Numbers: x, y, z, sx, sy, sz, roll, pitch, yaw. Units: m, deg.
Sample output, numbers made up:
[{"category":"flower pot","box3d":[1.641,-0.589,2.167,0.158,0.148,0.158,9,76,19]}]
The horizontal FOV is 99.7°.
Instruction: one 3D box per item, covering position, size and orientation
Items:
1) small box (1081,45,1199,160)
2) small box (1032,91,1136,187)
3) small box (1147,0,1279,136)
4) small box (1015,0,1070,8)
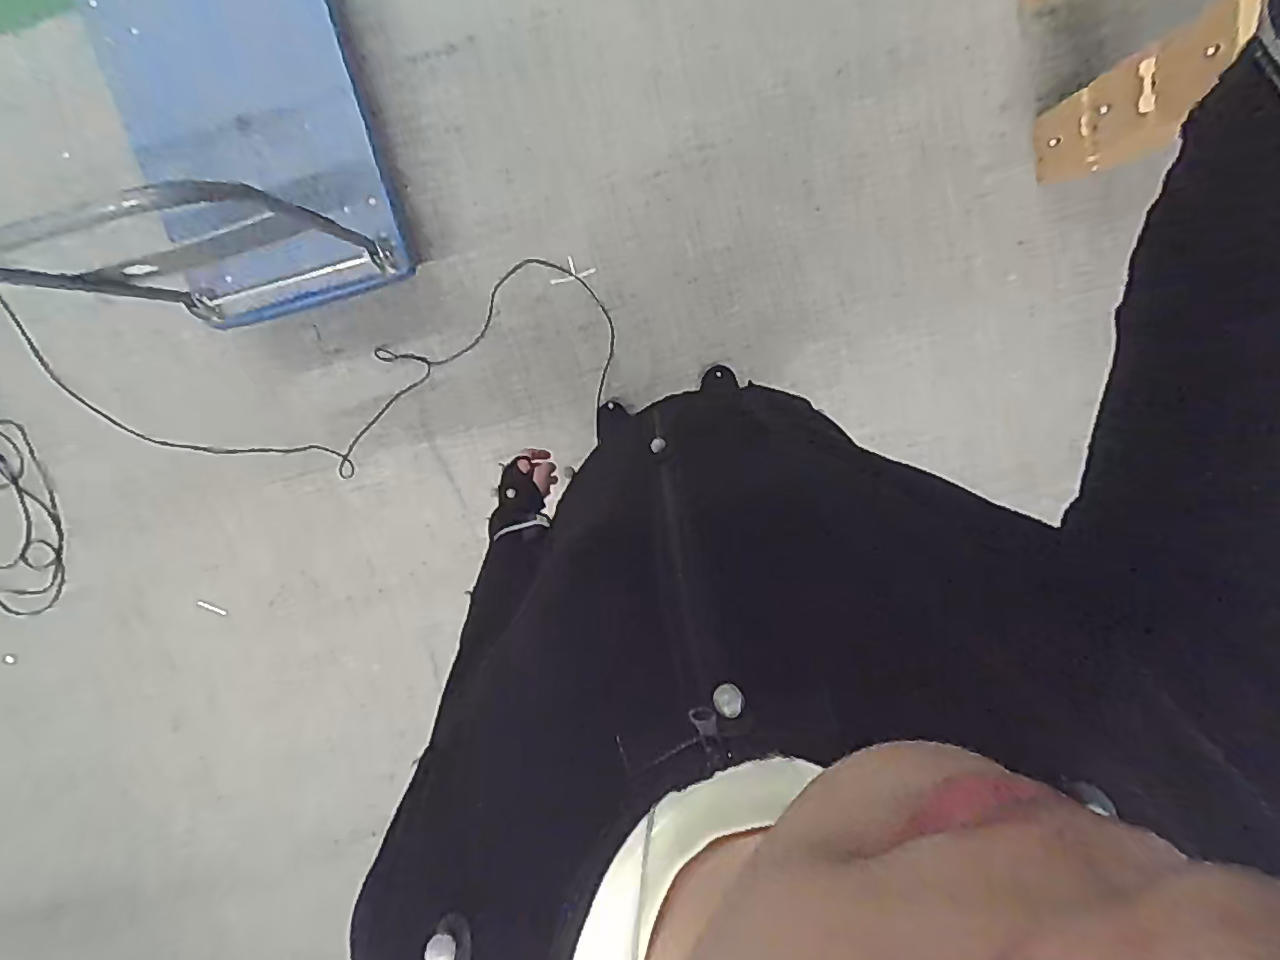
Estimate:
[{"category":"small box","box3d":[1.153,-0.852,1.223,0.179,0.176,0.168,-7,99,1]},{"category":"small box","box3d":[1.143,-0.878,1.385,0.179,0.176,0.168,-12,100,3]},{"category":"small box","box3d":[1.153,-0.817,1.063,0.168,0.176,0.179,-8,100,2]},{"category":"small box","box3d":[1.045,-1.298,1.311,0.179,0.176,0.168,-9,100,1]}]
